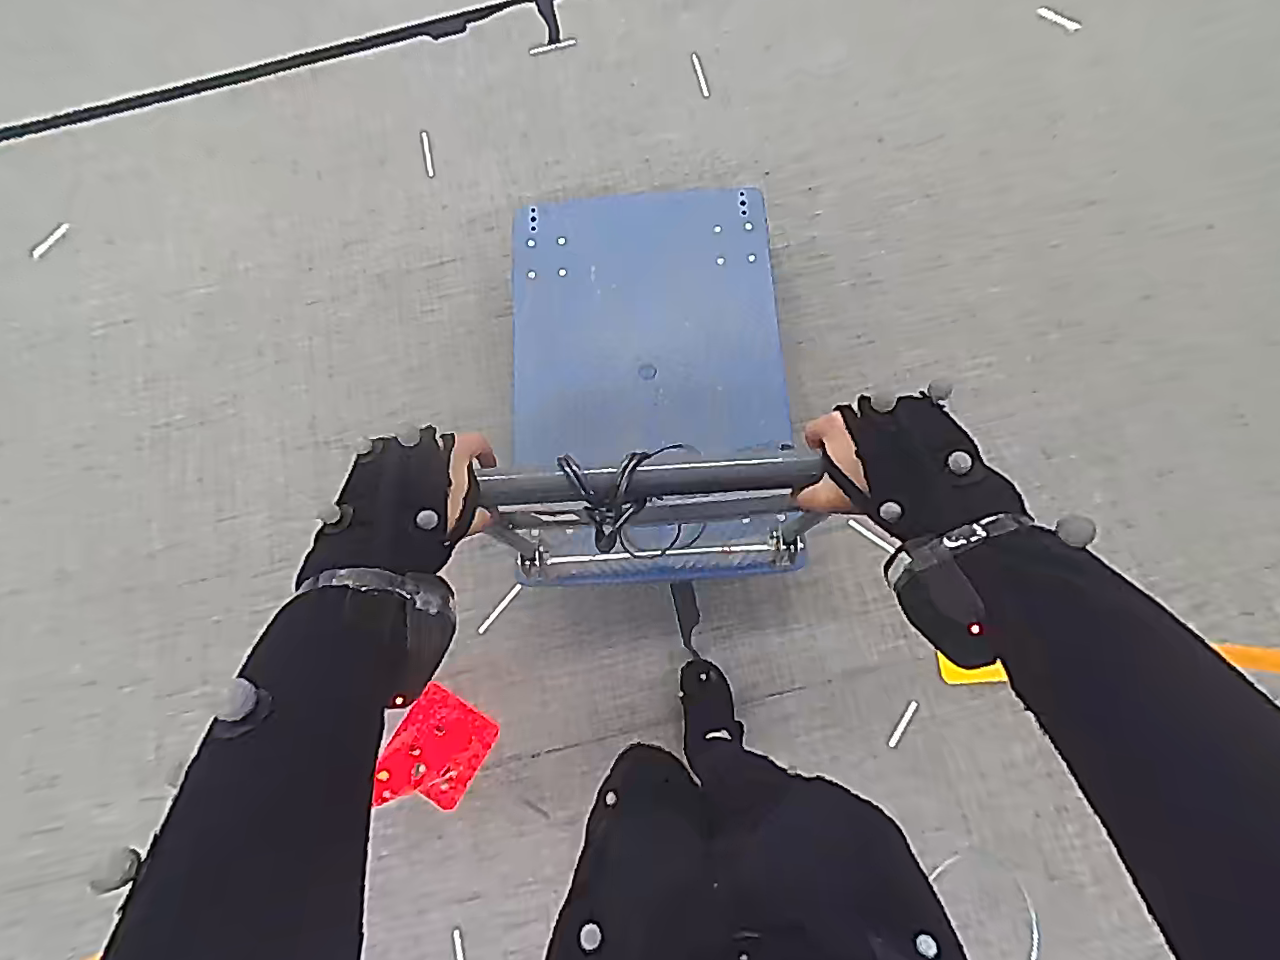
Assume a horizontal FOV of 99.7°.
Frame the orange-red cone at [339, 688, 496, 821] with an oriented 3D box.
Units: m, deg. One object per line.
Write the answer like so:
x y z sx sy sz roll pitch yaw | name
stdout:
-0.435 0.536 0.988 0.198 0.360 0.199 31 79 8 | orange-red cone
